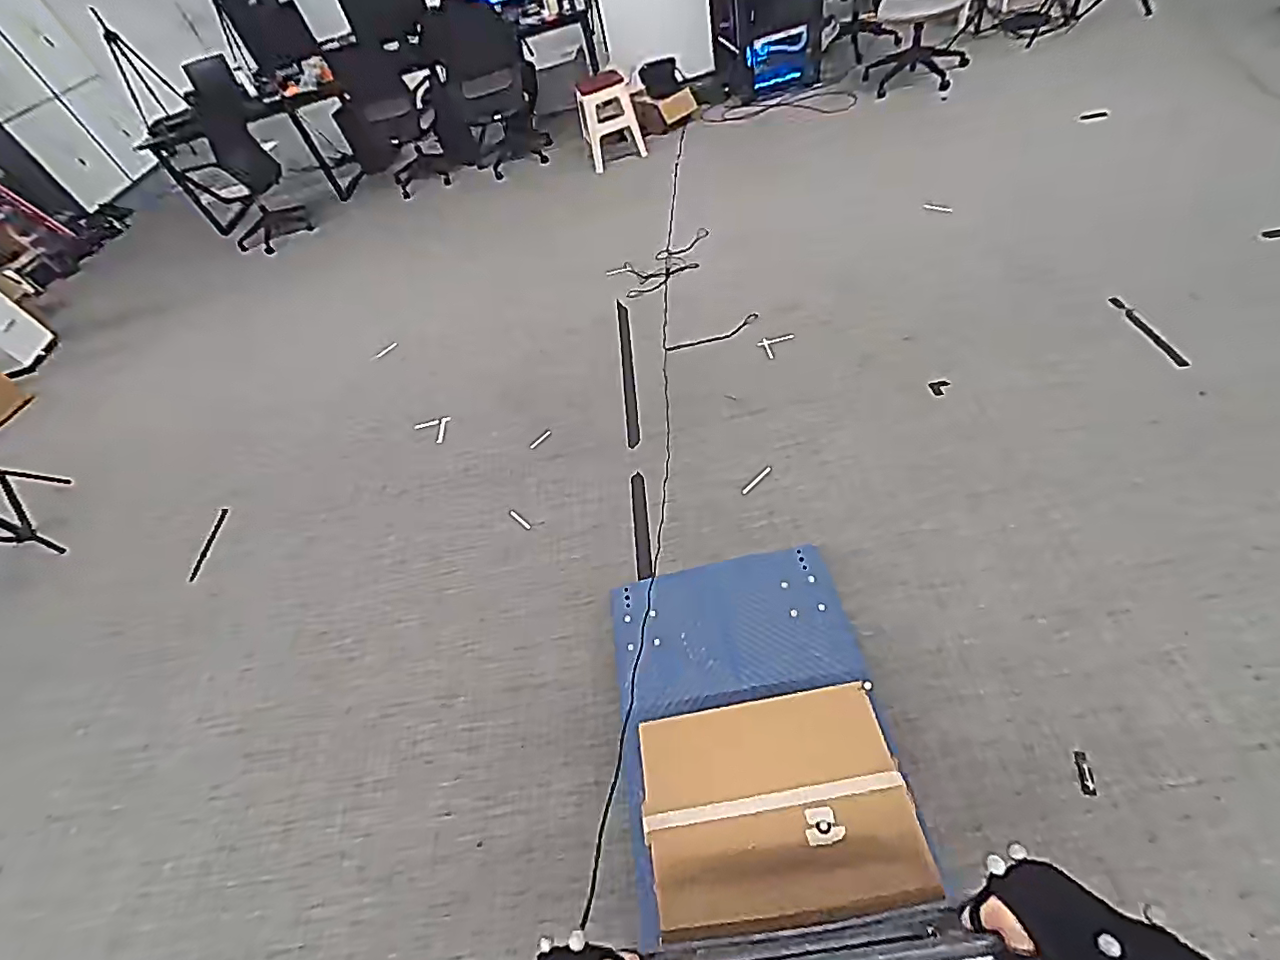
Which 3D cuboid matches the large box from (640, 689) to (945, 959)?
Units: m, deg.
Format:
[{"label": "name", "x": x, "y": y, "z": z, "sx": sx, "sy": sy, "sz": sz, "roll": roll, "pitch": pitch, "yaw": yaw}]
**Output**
[{"label": "large box", "x": 0.238, "y": 0.615, "z": 0.958, "sx": 0.408, "sy": 0.320, "sz": 0.320, "roll": -12, "pitch": 48, "yaw": 4}]
